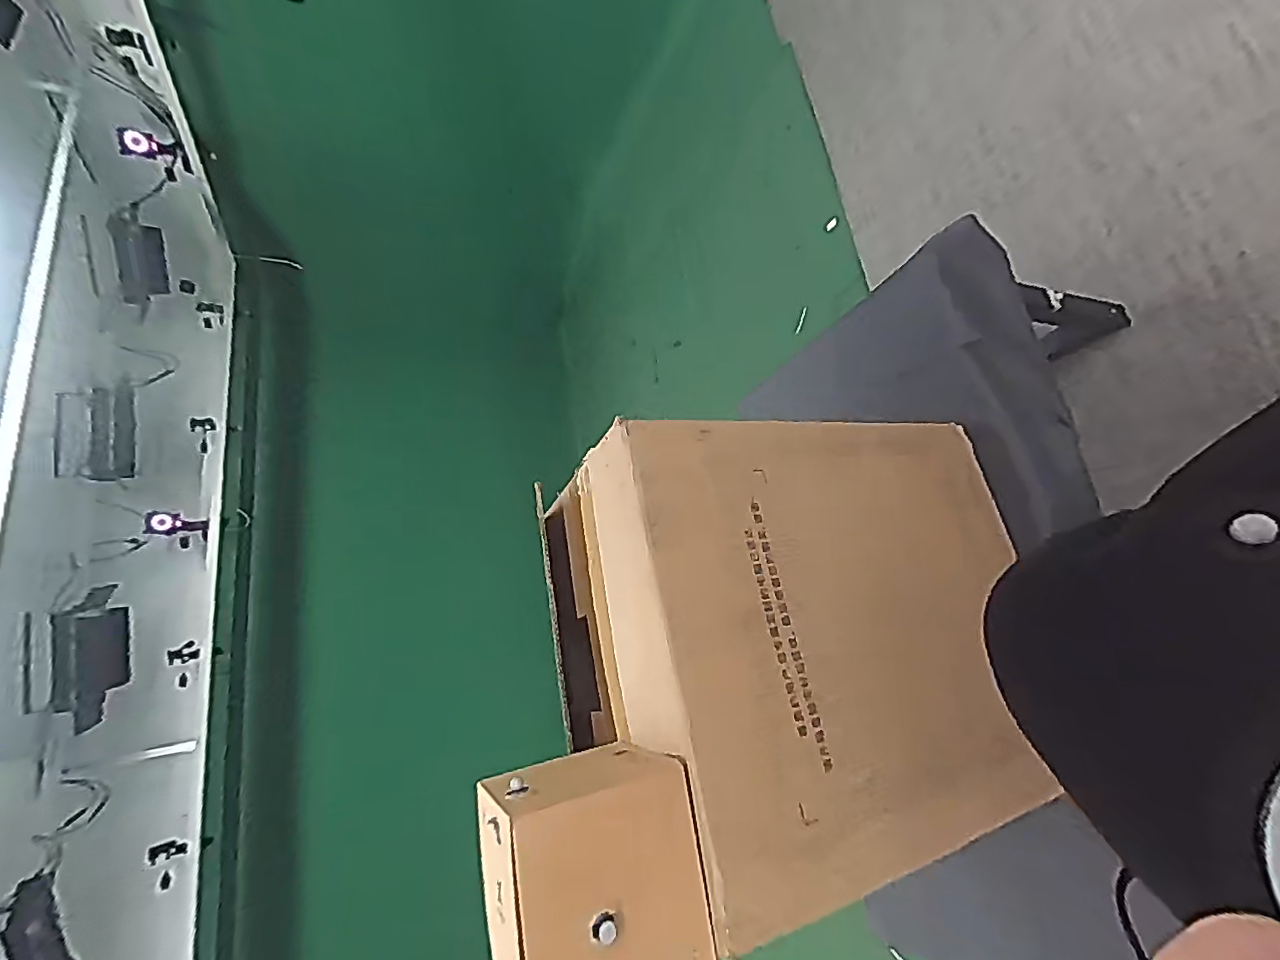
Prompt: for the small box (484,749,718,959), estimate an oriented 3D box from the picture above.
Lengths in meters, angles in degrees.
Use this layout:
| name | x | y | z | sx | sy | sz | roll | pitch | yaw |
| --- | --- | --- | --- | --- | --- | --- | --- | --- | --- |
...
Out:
| name | x | y | z | sx | sy | sz | roll | pitch | yaw |
| --- | --- | --- | --- | --- | --- | --- | --- | --- | --- |
| small box | -0.043 | 0.388 | 0.527 | 0.168 | 0.176 | 0.179 | -35 | 62 | 58 |
